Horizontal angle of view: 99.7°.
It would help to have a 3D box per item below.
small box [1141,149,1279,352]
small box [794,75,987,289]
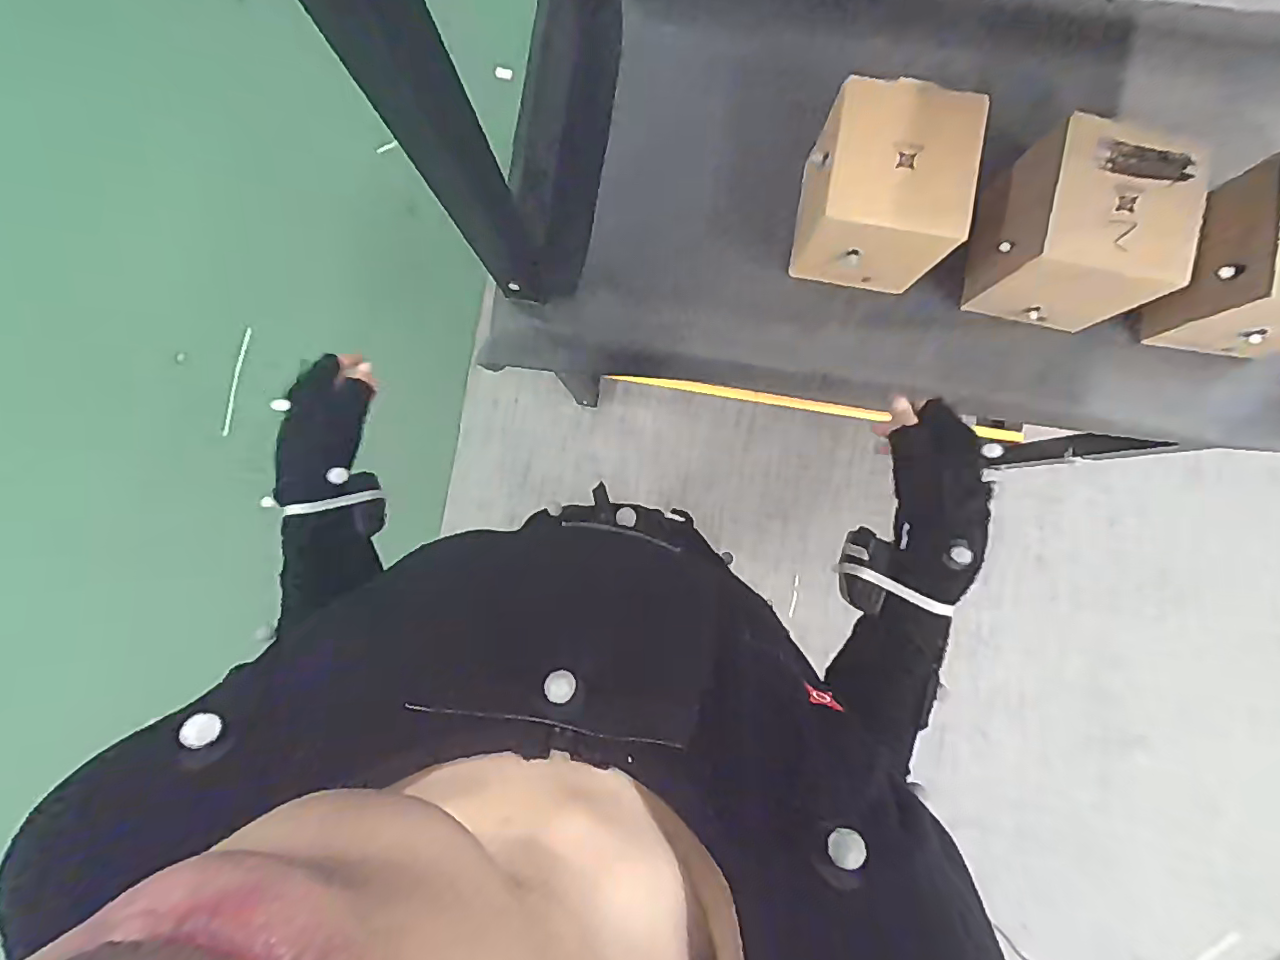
[{"bbox_3d":[0.792,-0.274,0.684,0.168,0.176,0.179,9,86,1],"label":"small box"},{"bbox_3d":[0.309,-0.370,0.703,0.168,0.176,0.179,10,87,2],"label":"small box"}]
